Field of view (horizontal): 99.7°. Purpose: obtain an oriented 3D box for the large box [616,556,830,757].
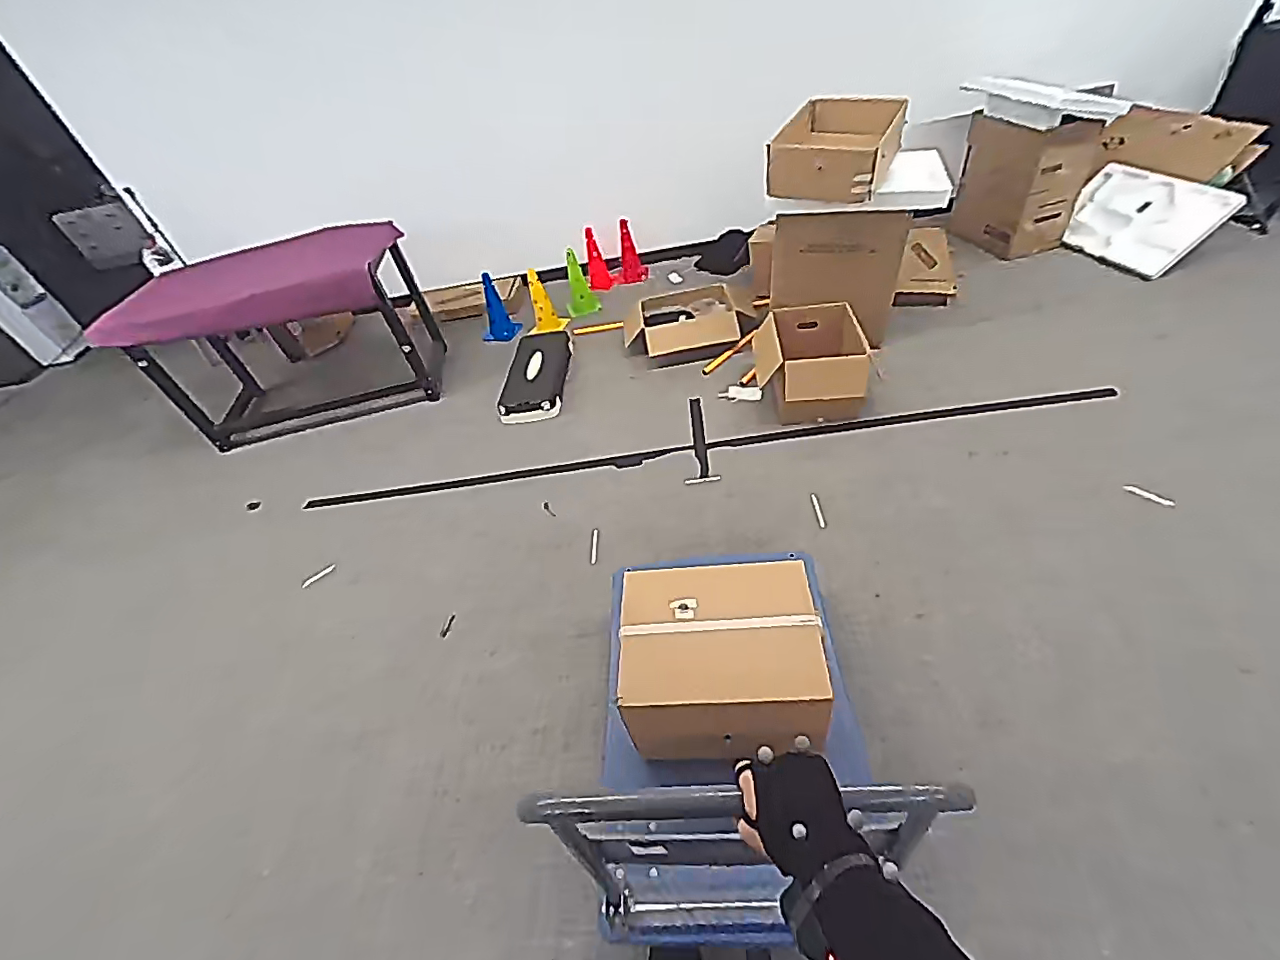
[{"bbox_3d":[0.180,0.402,1.208,0.408,0.320,0.320,-7,43,8],"label":"large box"}]
